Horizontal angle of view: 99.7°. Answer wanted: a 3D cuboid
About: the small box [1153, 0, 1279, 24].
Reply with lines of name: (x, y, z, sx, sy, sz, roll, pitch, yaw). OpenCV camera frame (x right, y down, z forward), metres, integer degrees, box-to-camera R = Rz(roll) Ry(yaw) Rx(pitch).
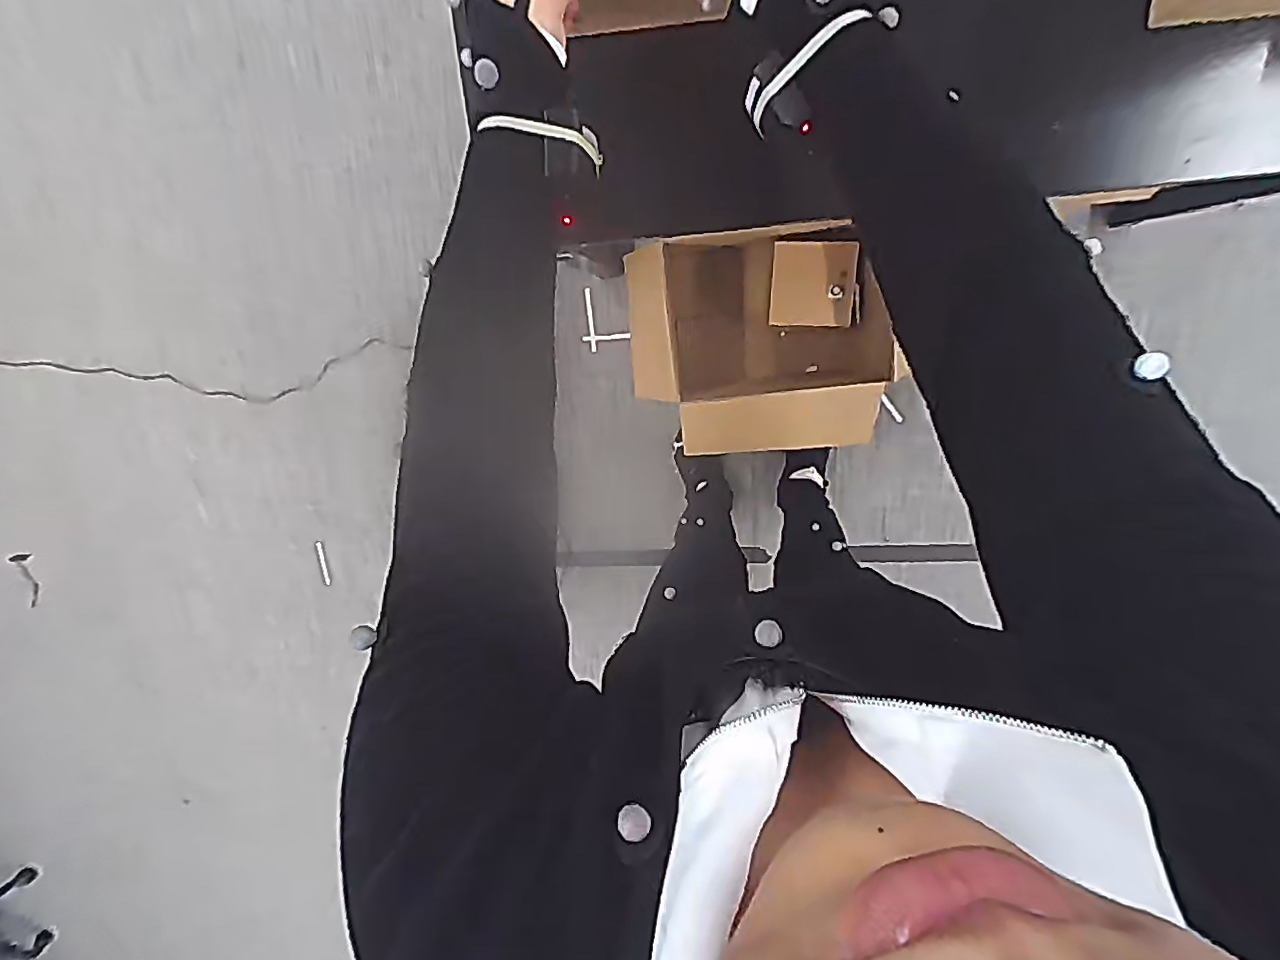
small box: (0.549, -0.480, 0.401, 0.179, 0.176, 0.168, -2, 107, 5)
